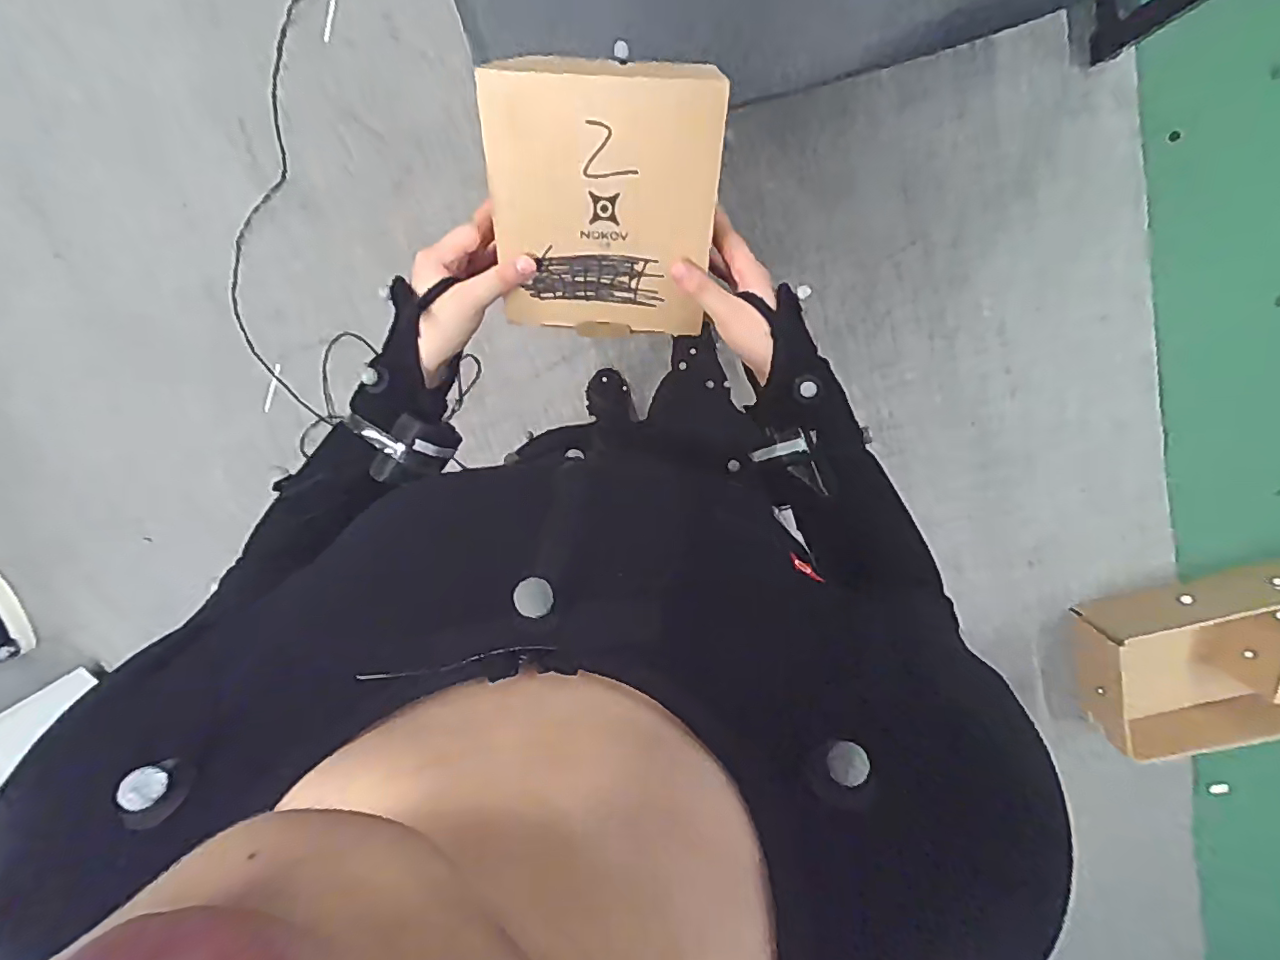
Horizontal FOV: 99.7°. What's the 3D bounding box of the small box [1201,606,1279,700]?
[{"bbox_3d":[1.649,0.451,1.420,0.168,0.176,0.179,-1,106,3],"label":"small box"}]
